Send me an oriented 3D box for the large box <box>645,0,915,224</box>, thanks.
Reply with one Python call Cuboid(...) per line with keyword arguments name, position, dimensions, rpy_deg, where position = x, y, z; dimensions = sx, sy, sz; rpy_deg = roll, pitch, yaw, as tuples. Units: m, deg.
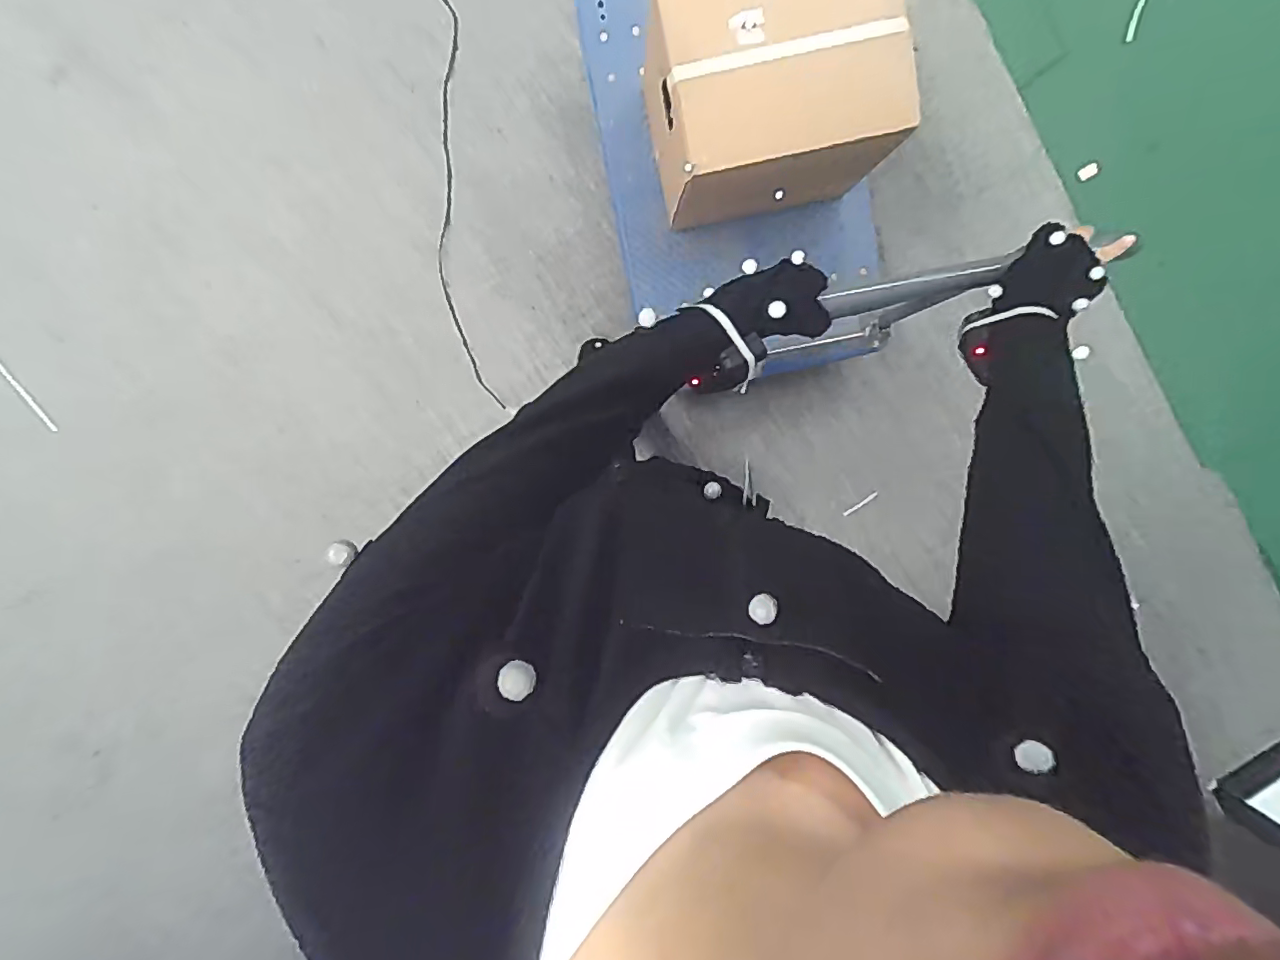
Cuboid(name="large box", position=(0.242, -0.739, 1.047), dimensions=(0.408, 0.320, 0.320), rpy_deg=(-13, 98, 0))
